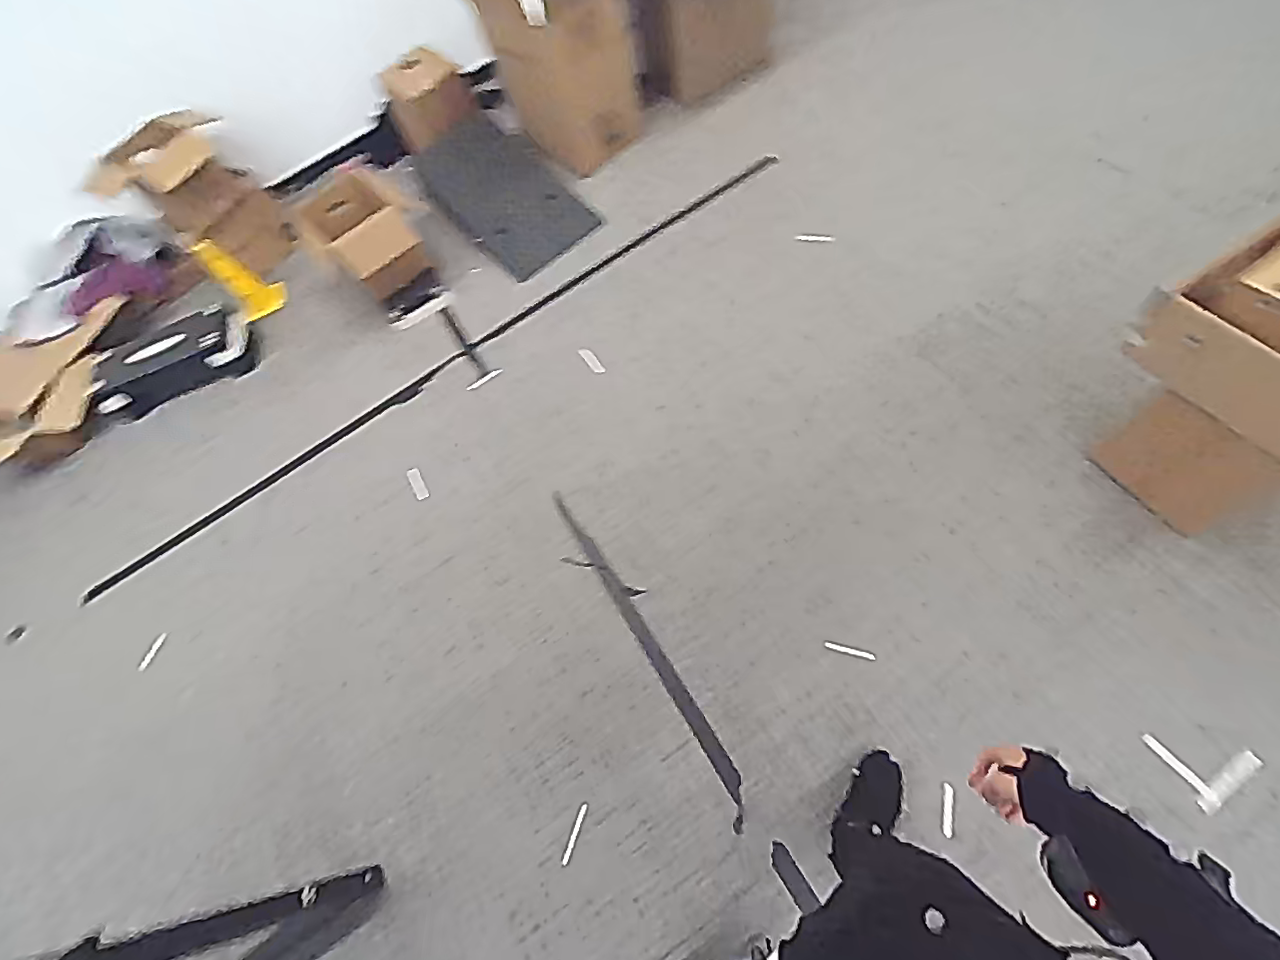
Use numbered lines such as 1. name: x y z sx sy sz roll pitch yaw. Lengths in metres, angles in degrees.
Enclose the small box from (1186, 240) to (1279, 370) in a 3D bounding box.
1. small box: 1.309 -0.365 1.114 0.179 0.176 0.168 -35 61 -6
